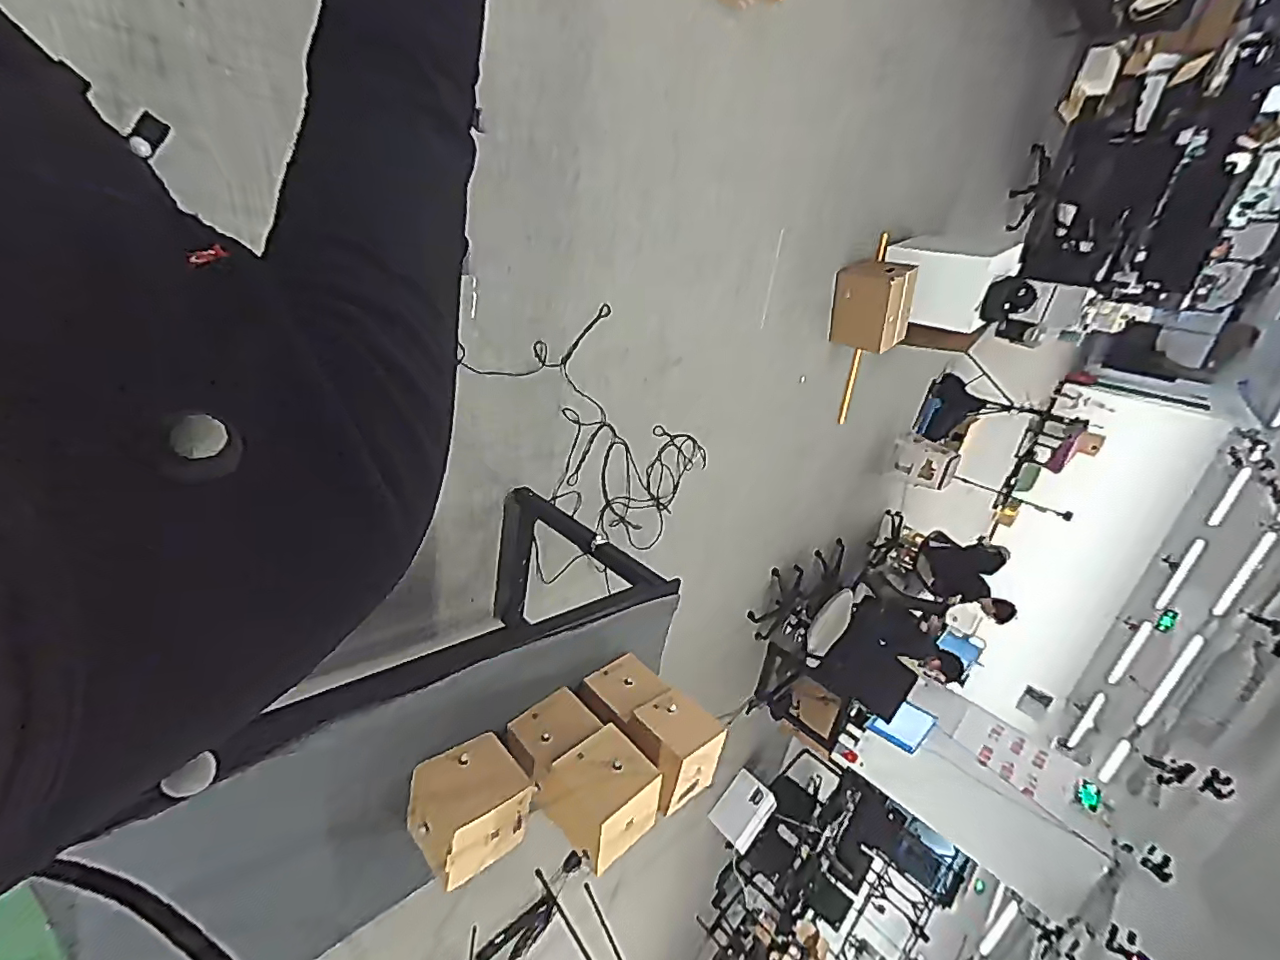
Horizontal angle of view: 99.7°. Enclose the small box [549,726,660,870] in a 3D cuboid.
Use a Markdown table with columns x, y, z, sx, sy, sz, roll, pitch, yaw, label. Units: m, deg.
| x | y | z | sx | sy | sz | roll | pitch | yaw | label |
| --- | --- | --- | --- | --- | --- | --- | --- | --- | --- |
| -0.079 | 0.657 | 1.147 | 0.168 | 0.176 | 0.179 | -20 | 127 | -40 | small box |
